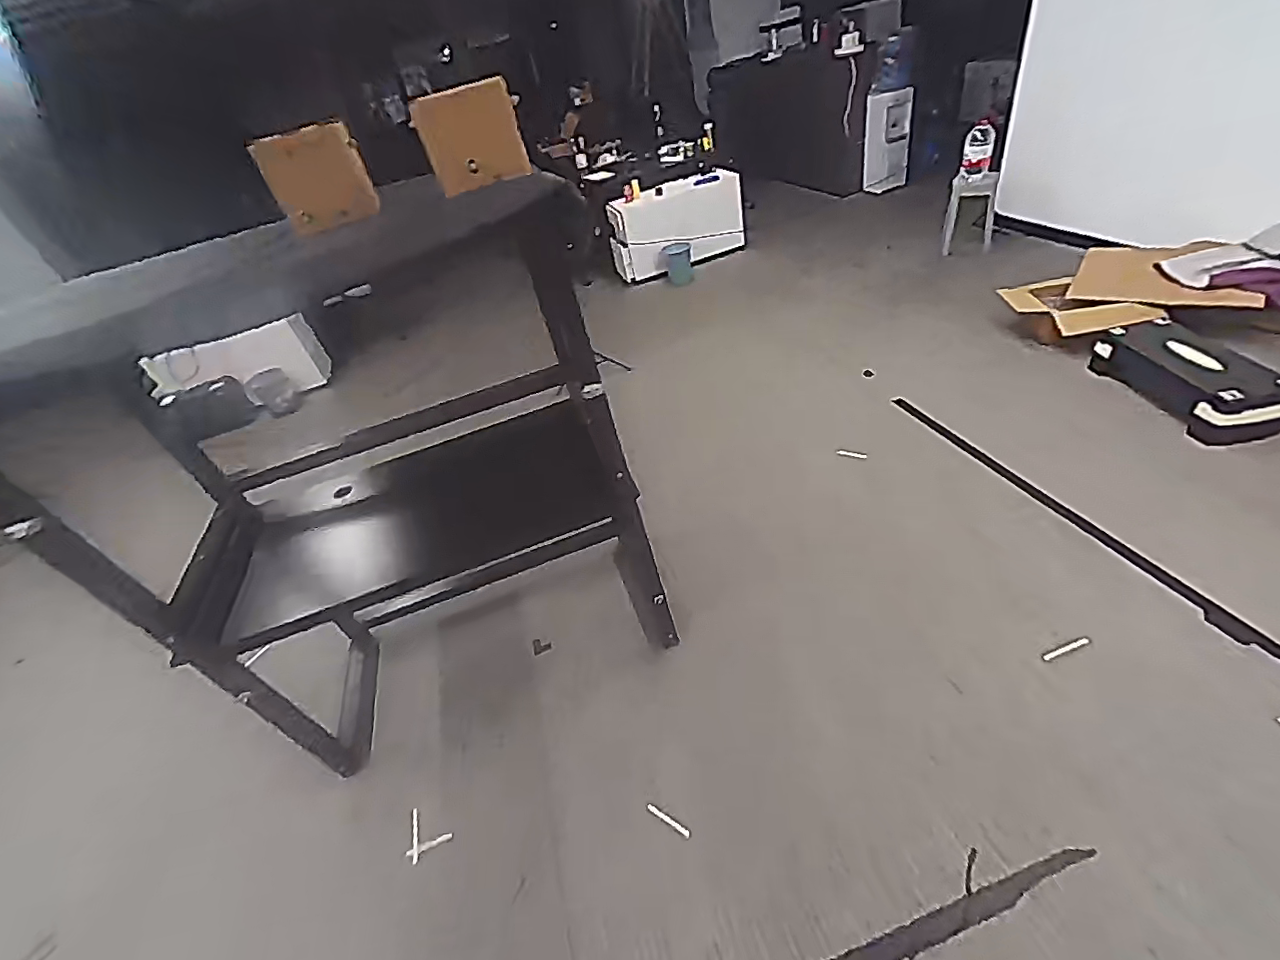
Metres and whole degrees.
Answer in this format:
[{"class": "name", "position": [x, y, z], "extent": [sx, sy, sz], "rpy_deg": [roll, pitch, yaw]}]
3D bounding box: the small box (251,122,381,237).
[{"class": "small box", "position": [-0.666, -0.628, 1.135], "extent": [0.168, 0.176, 0.179], "rpy_deg": [-22, 38, -8]}]

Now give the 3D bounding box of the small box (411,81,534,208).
[{"class": "small box", "position": [-0.309, -0.634, 1.026], "extent": [0.168, 0.176, 0.179], "rpy_deg": [-18, 39, -2]}]
